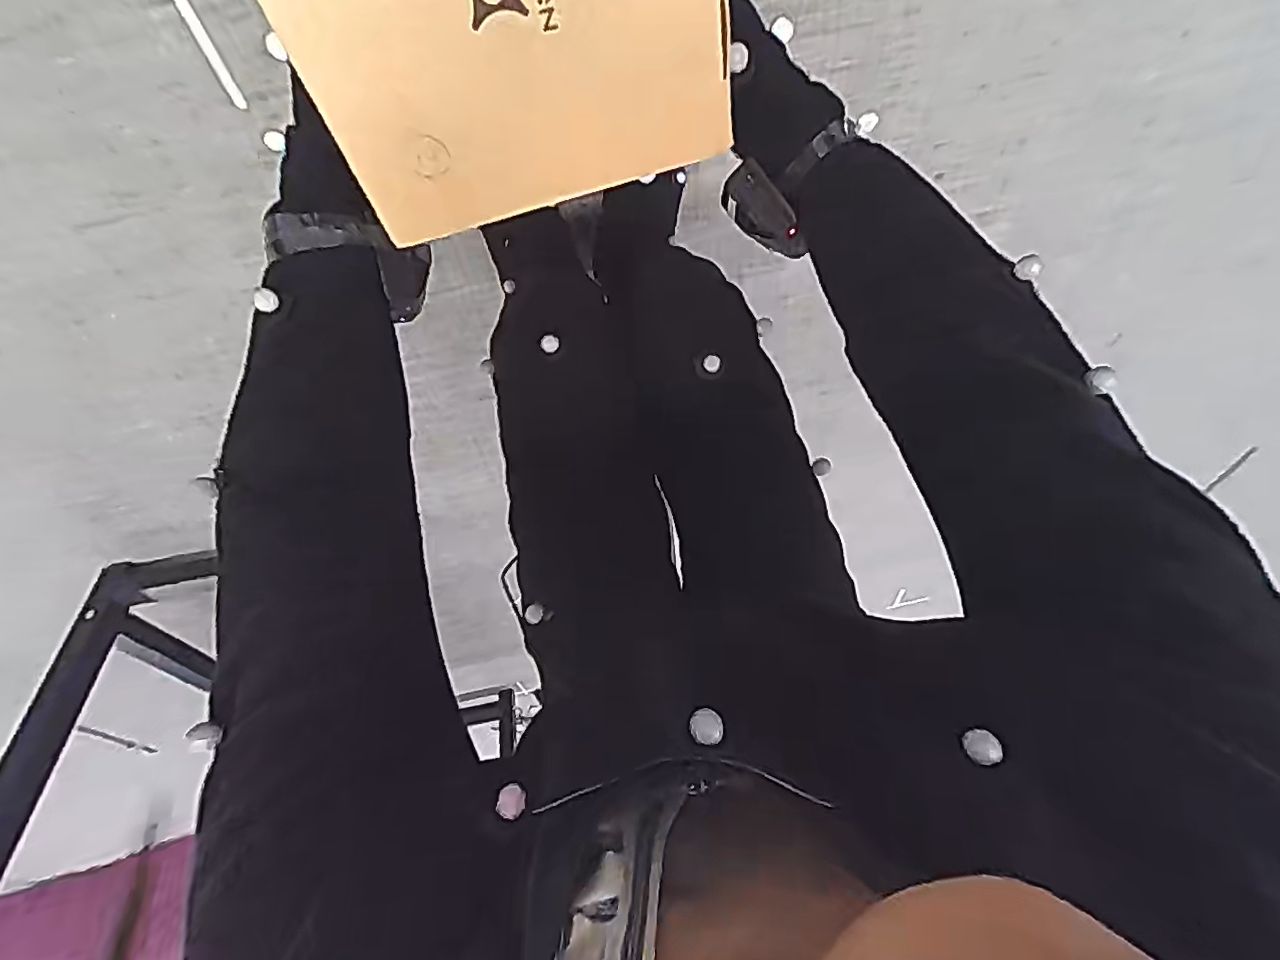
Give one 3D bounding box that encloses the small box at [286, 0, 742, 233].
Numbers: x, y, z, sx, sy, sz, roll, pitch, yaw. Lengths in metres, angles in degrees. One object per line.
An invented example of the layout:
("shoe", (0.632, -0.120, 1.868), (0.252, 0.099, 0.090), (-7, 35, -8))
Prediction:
("small box", (-0.064, -0.253, 0.258), (0.179, 0.176, 0.168), (-17, 140, -1))
